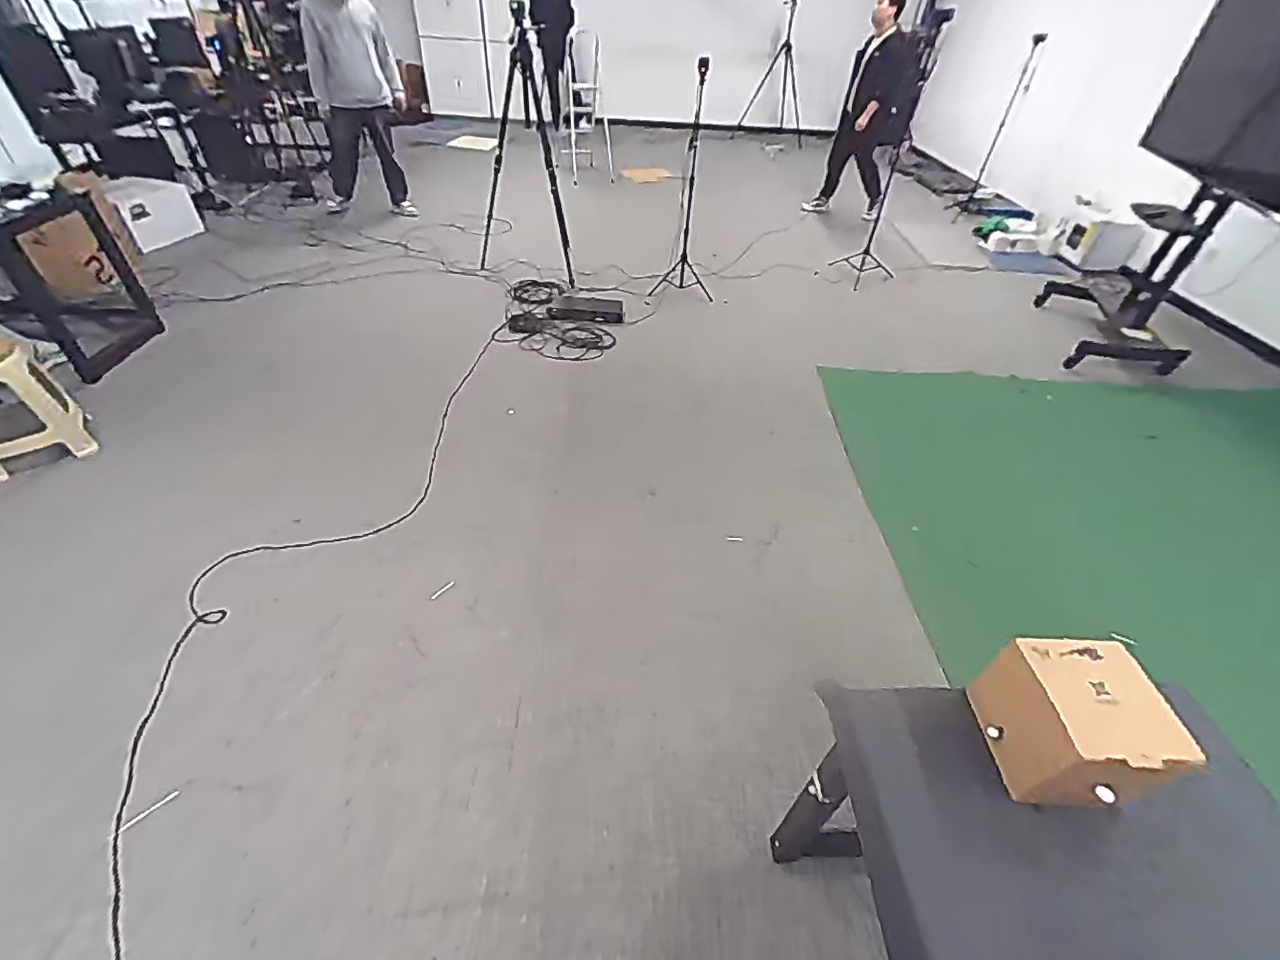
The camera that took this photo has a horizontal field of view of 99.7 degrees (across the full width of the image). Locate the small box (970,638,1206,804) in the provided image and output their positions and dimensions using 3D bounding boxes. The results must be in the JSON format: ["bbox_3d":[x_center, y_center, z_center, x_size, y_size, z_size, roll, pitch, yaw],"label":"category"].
[{"bbox_3d":[0.630,0.355,0.791,0.168,0.176,0.179,3,43,-1],"label":"small box"}]
